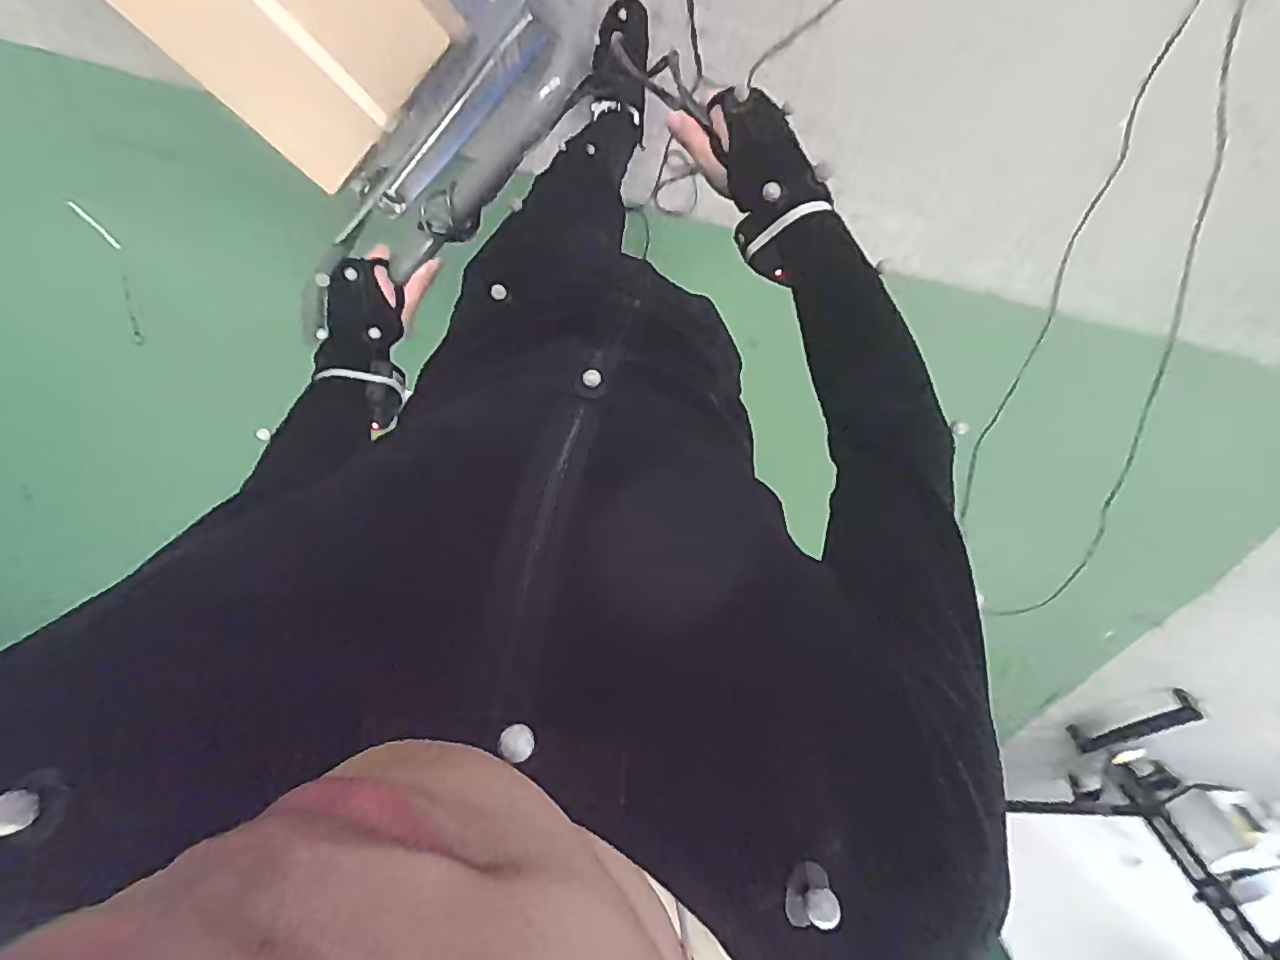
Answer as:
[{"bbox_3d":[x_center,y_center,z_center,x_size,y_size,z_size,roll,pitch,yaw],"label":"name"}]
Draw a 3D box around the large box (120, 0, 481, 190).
[{"bbox_3d":[-0.516,-0.755,0.838,0.320,0.320,0.408,-35,126,20],"label":"large box"}]
